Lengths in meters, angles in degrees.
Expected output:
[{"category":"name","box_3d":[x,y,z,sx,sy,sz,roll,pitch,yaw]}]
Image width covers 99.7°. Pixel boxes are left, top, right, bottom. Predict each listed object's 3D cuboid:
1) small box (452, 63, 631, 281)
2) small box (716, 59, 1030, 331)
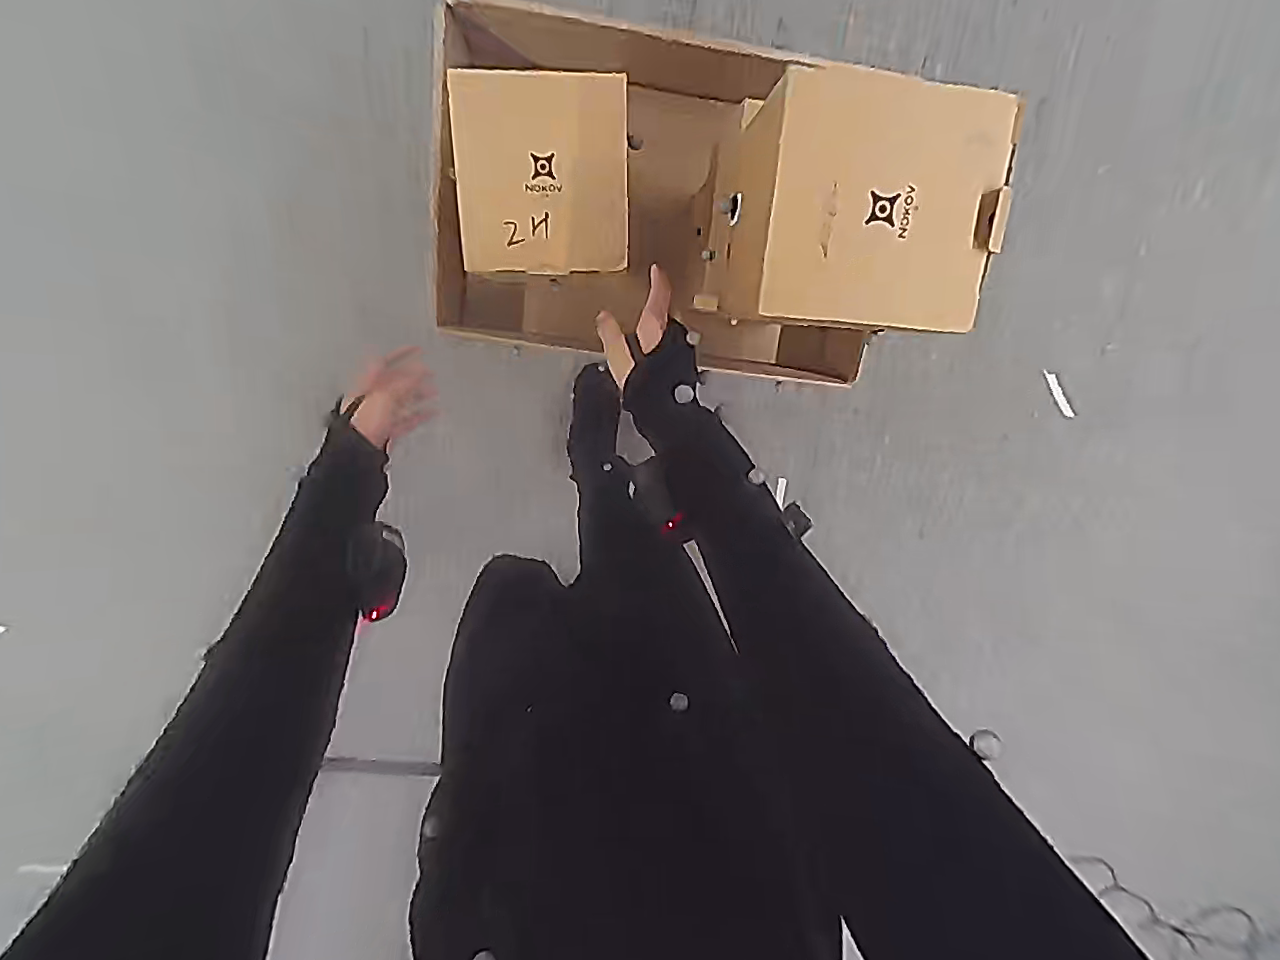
[{"category":"small box","box_3d":[-0.097,-0.318,0.594,0.168,0.176,0.179,-1,108,-3]},{"category":"small box","box_3d":[0.176,-0.223,0.470,0.179,0.176,0.168,3,106,-5]}]
